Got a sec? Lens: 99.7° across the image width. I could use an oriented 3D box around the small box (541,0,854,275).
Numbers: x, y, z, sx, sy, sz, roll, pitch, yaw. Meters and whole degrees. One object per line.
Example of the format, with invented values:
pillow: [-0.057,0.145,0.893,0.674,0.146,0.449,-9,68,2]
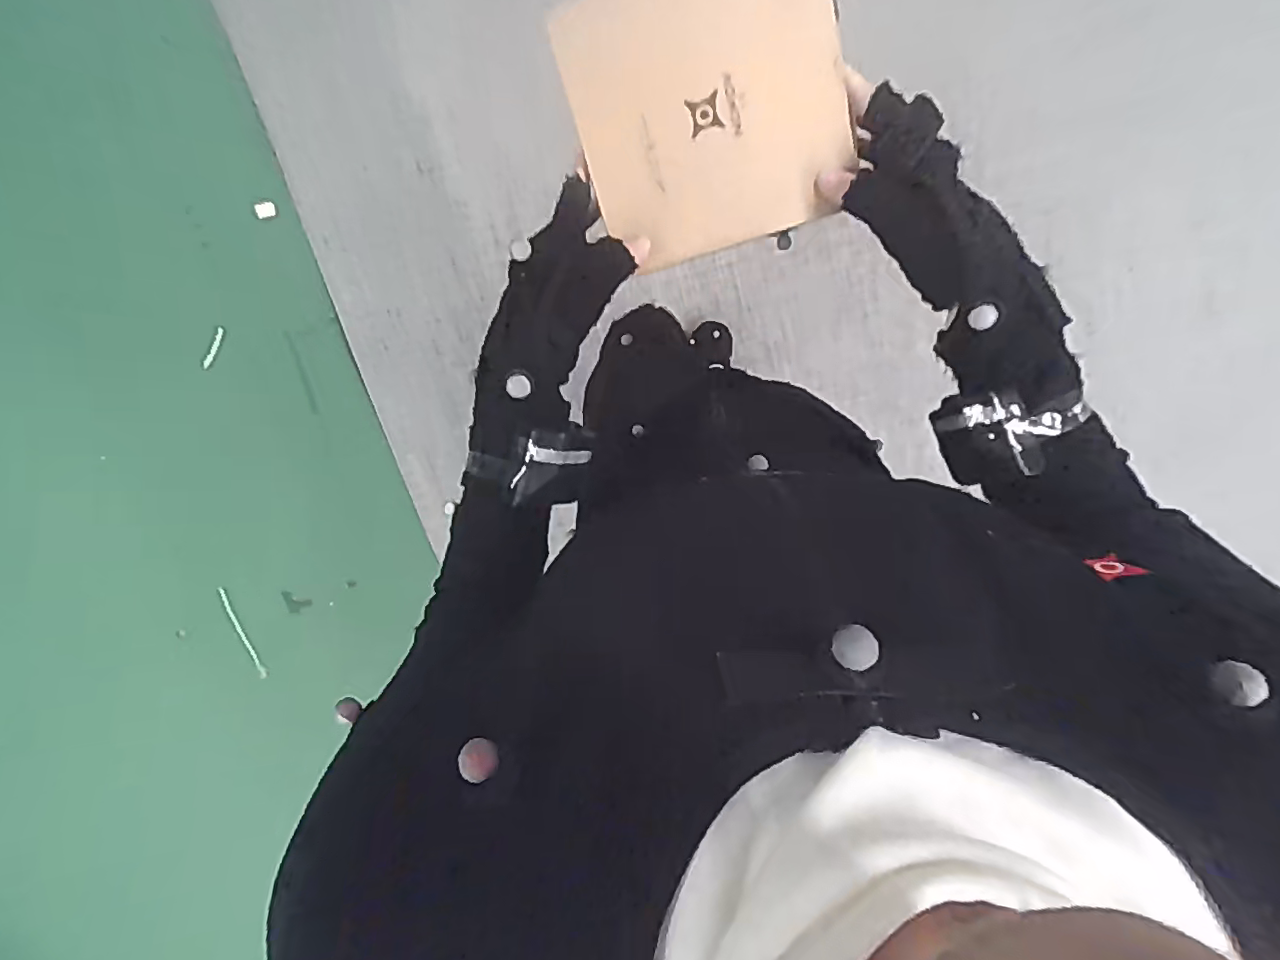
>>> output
small box: [0.047,-0.275,0.429,0.179,0.176,0.168,-15,110,11]
